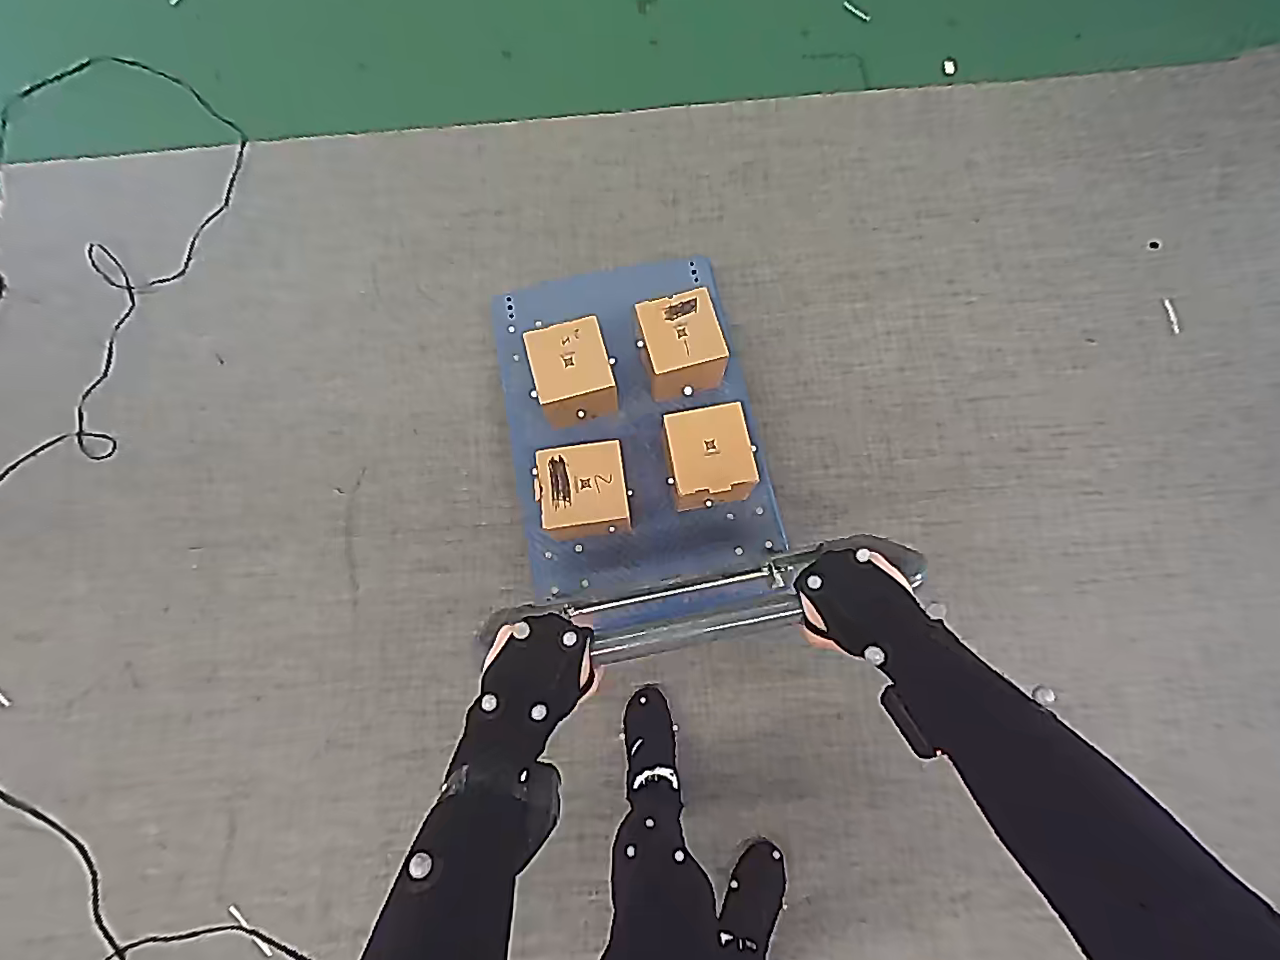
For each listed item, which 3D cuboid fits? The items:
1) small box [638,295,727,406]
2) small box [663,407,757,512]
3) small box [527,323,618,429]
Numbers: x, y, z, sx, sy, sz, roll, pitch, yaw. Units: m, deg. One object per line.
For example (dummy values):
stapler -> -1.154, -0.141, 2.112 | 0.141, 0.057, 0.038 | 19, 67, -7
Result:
small box -> 0.093, -0.297, 1.266 | 0.168, 0.176, 0.179 | -15, 77, -2
small box -> 0.147, -0.040, 1.200 | 0.168, 0.176, 0.179 | -11, 76, -1
small box -> -0.150, -0.230, 1.255 | 0.168, 0.176, 0.179 | -15, 76, -3
